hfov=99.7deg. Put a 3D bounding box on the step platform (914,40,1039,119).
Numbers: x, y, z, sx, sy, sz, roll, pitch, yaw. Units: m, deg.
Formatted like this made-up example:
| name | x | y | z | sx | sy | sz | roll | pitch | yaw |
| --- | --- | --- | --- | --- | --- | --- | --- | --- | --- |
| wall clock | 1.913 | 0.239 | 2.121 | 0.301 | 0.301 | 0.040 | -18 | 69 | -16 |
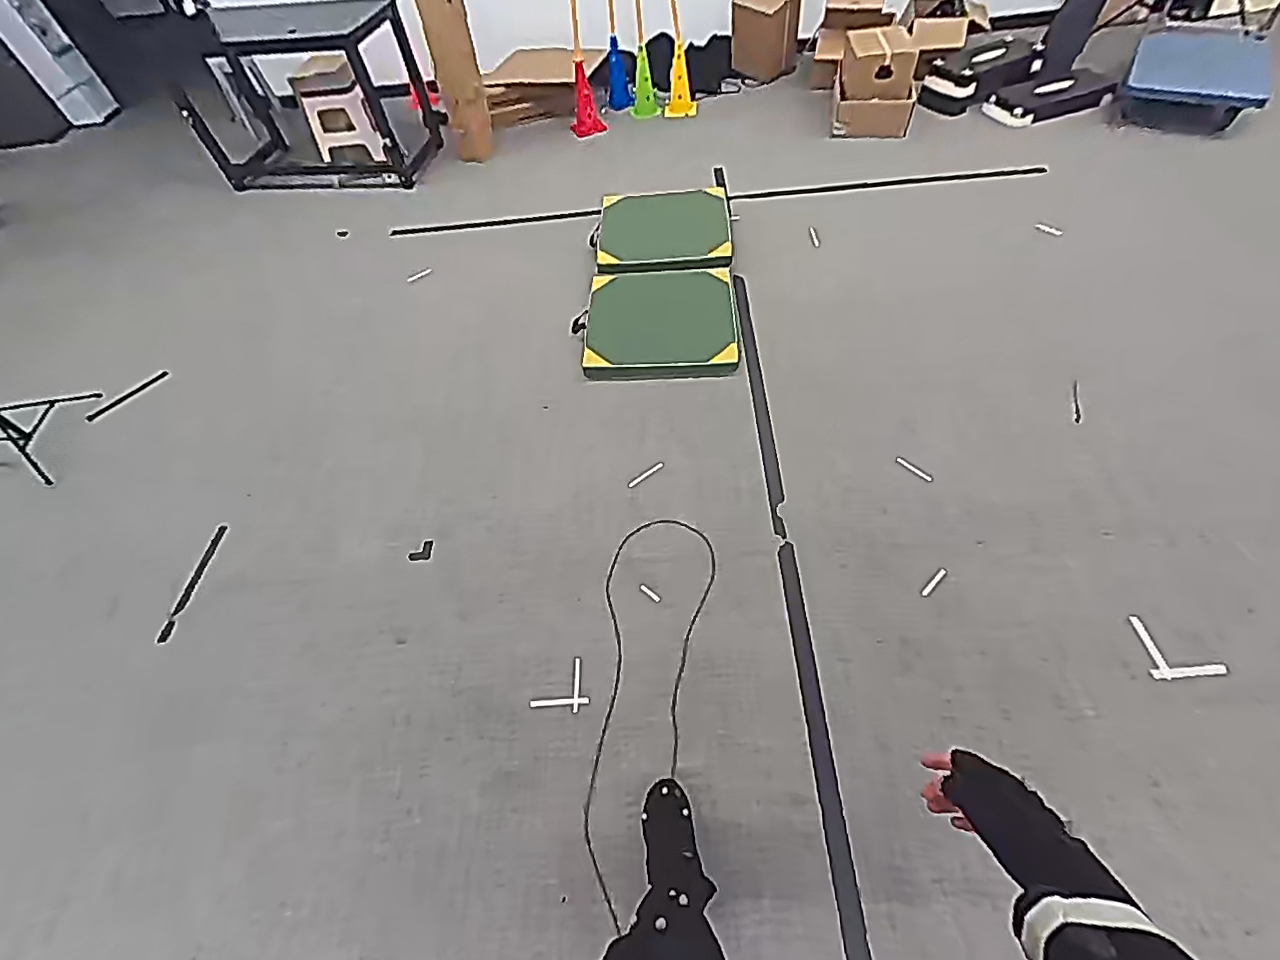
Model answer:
| name | x | y | z | sx | sy | sz | roll | pitch | yaw |
| --- | --- | --- | --- | --- | --- | --- | --- | --- | --- |
| step platform | 1.972 | -2.355 | 3.169 | 0.684 | 0.204 | 0.286 | -27 | 57 | -13 |
